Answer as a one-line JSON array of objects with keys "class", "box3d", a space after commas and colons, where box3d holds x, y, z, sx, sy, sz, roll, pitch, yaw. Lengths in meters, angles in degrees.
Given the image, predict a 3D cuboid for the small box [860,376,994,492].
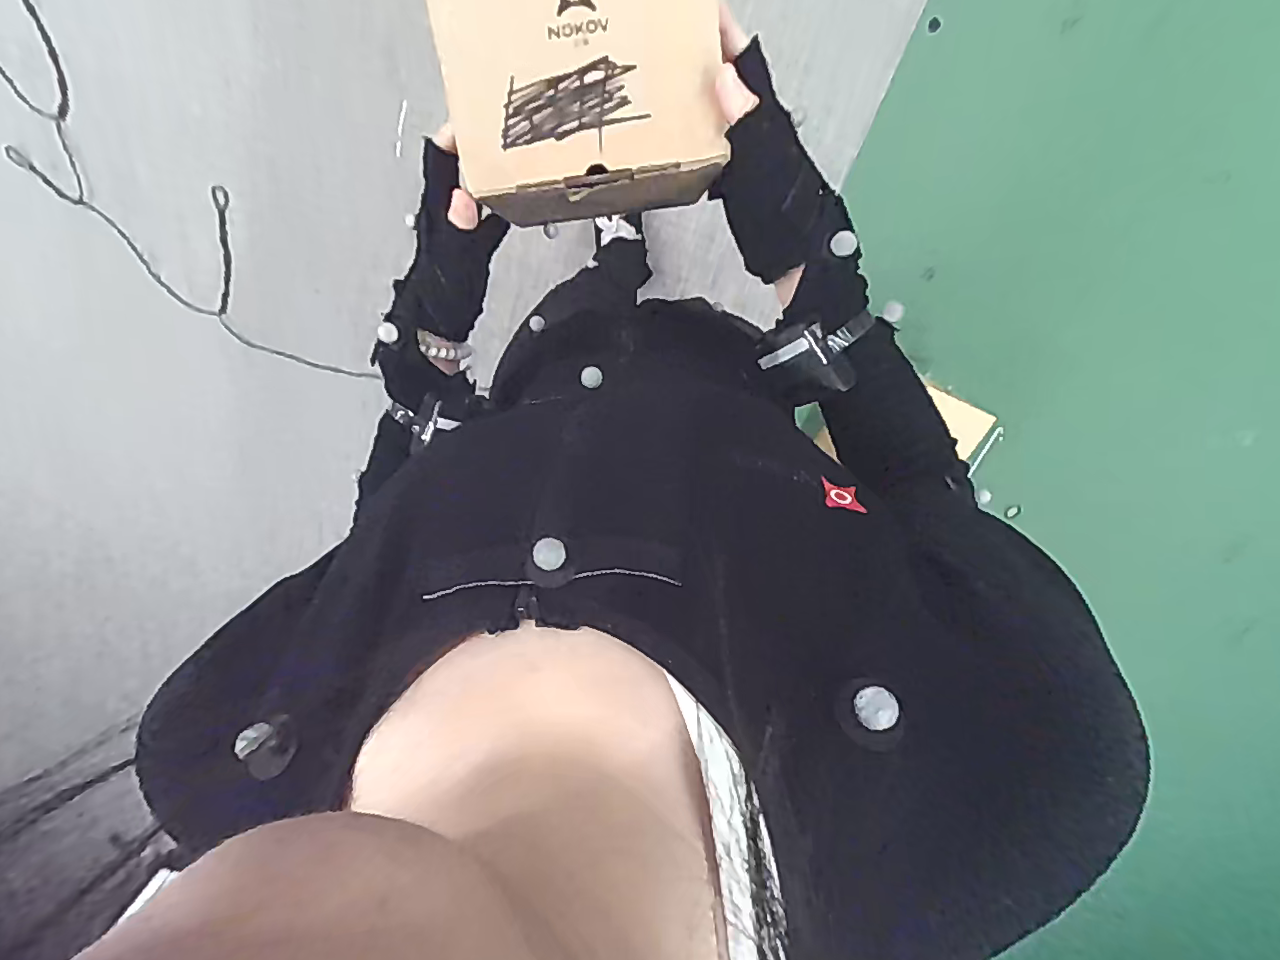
[{"class": "small box", "box3d": [0.616, -0.108, 1.191, 0.168, 0.176, 0.179, 23, 114, -6]}]
